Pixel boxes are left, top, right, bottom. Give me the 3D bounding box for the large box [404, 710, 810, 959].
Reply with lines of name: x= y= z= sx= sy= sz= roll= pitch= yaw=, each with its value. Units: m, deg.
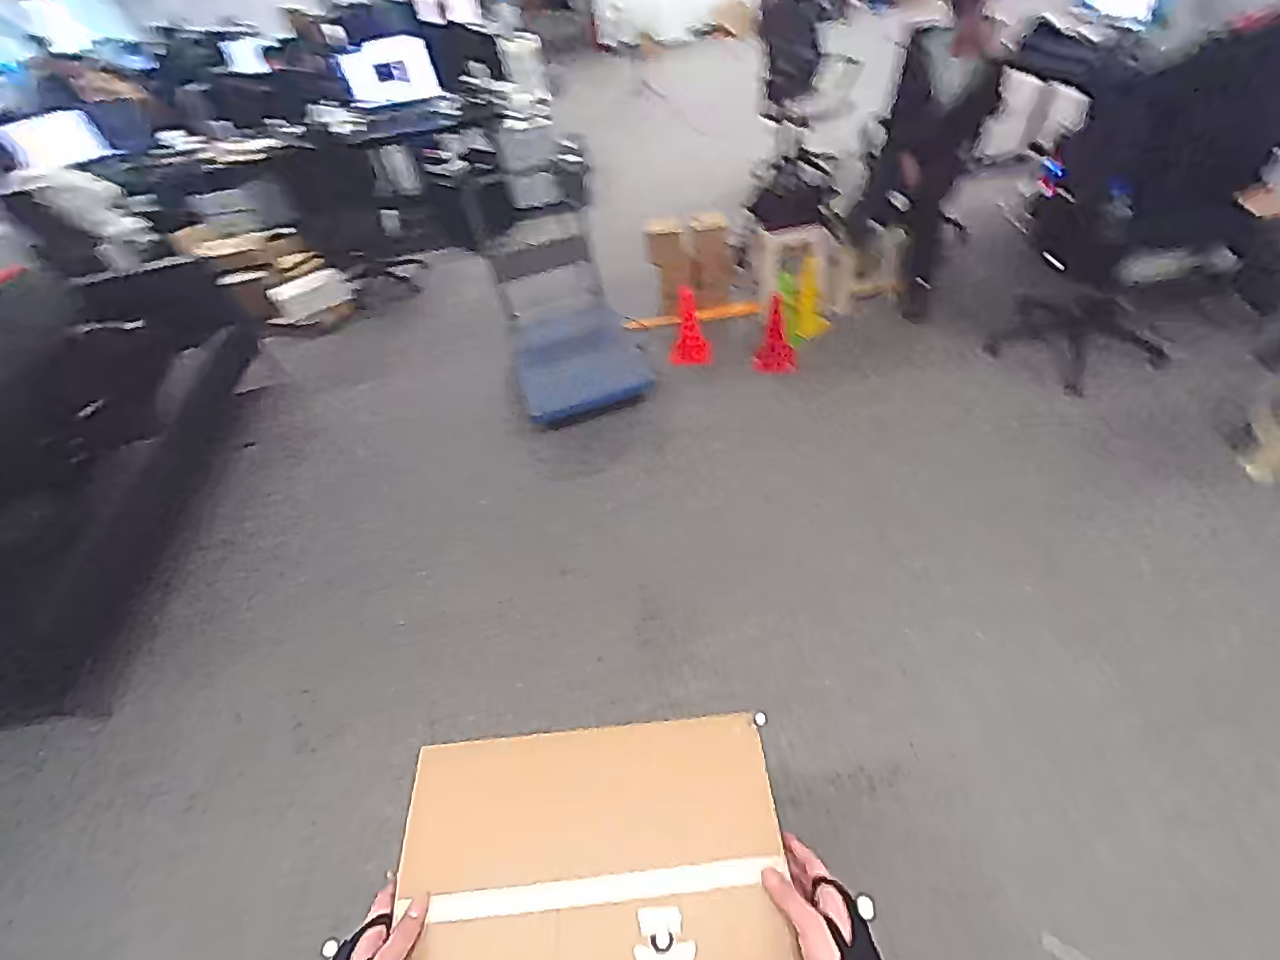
large box: x=-0.037 y=0.517 z=0.679 sx=0.408 sy=0.320 sz=0.320 roll=-4 pitch=50 yaw=-2
